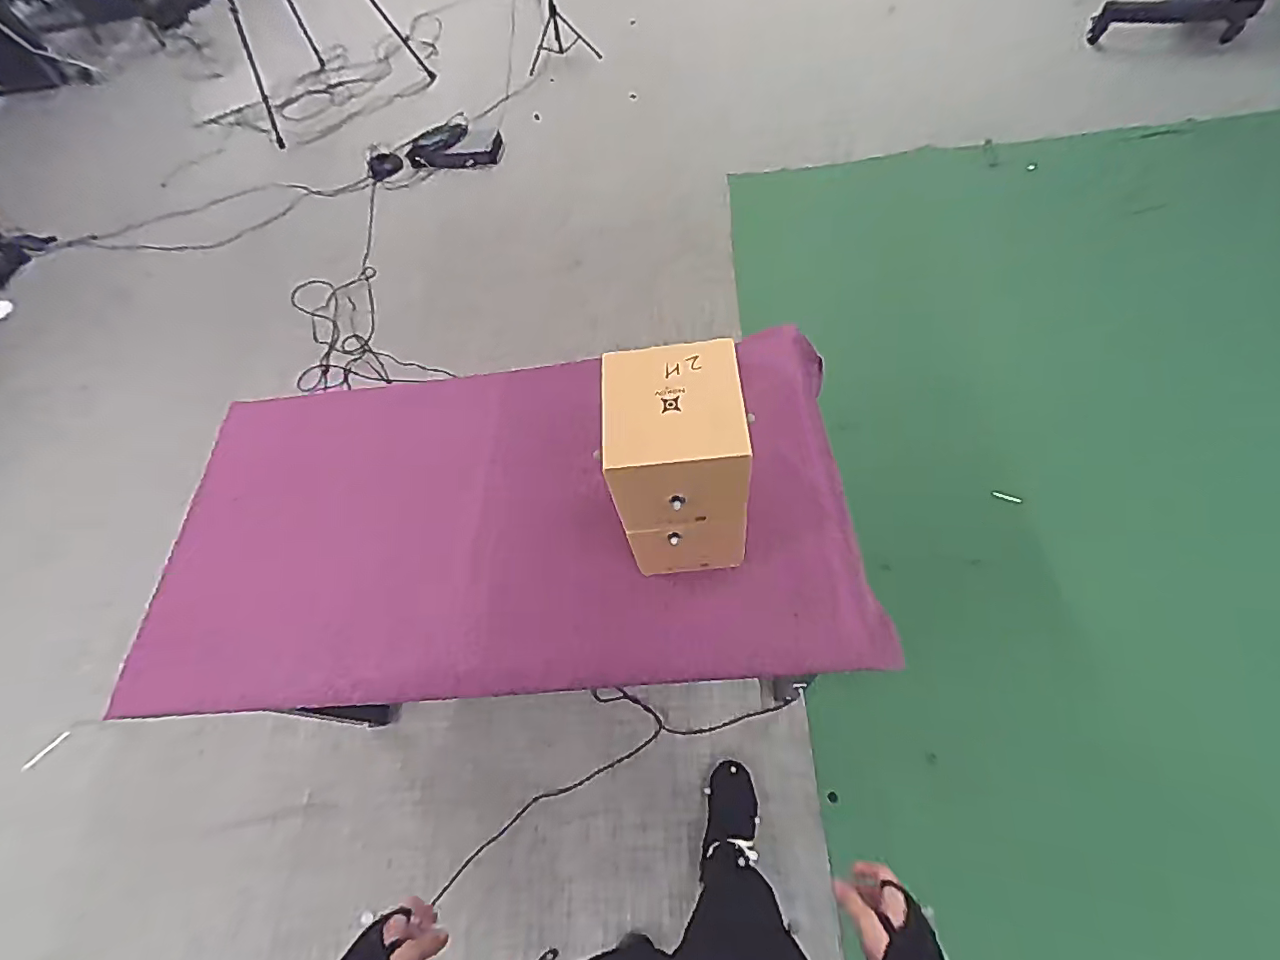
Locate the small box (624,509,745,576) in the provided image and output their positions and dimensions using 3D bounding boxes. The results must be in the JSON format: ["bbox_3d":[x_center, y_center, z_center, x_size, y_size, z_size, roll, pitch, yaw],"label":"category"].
[{"bbox_3d":[0.066,0.032,0.836,0.168,0.176,0.179,-7,59,6],"label":"small box"}]

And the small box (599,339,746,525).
[{"bbox_3d":[0.045,-0.051,0.695,0.168,0.176,0.179,-5,59,5],"label":"small box"}]
